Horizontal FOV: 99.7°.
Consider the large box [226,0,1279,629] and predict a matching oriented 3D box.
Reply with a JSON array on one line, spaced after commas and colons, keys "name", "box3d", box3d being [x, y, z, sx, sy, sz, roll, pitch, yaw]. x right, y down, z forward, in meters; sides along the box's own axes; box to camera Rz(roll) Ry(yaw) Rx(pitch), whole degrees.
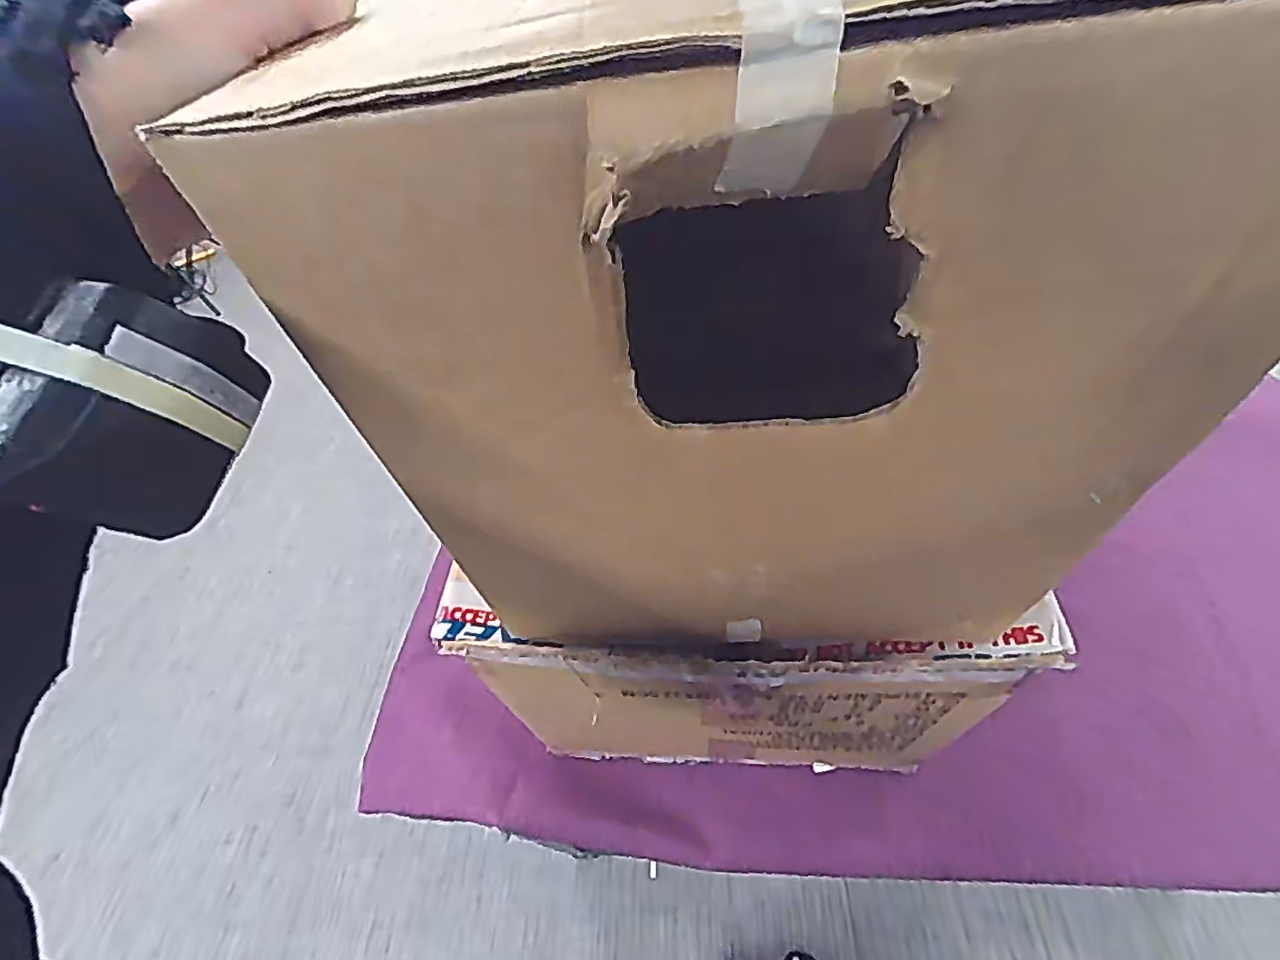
[{"name": "large box", "box3d": [0.062, -0.151, 0.361, 0.320, 0.320, 0.408, -3, 51, 7]}]
